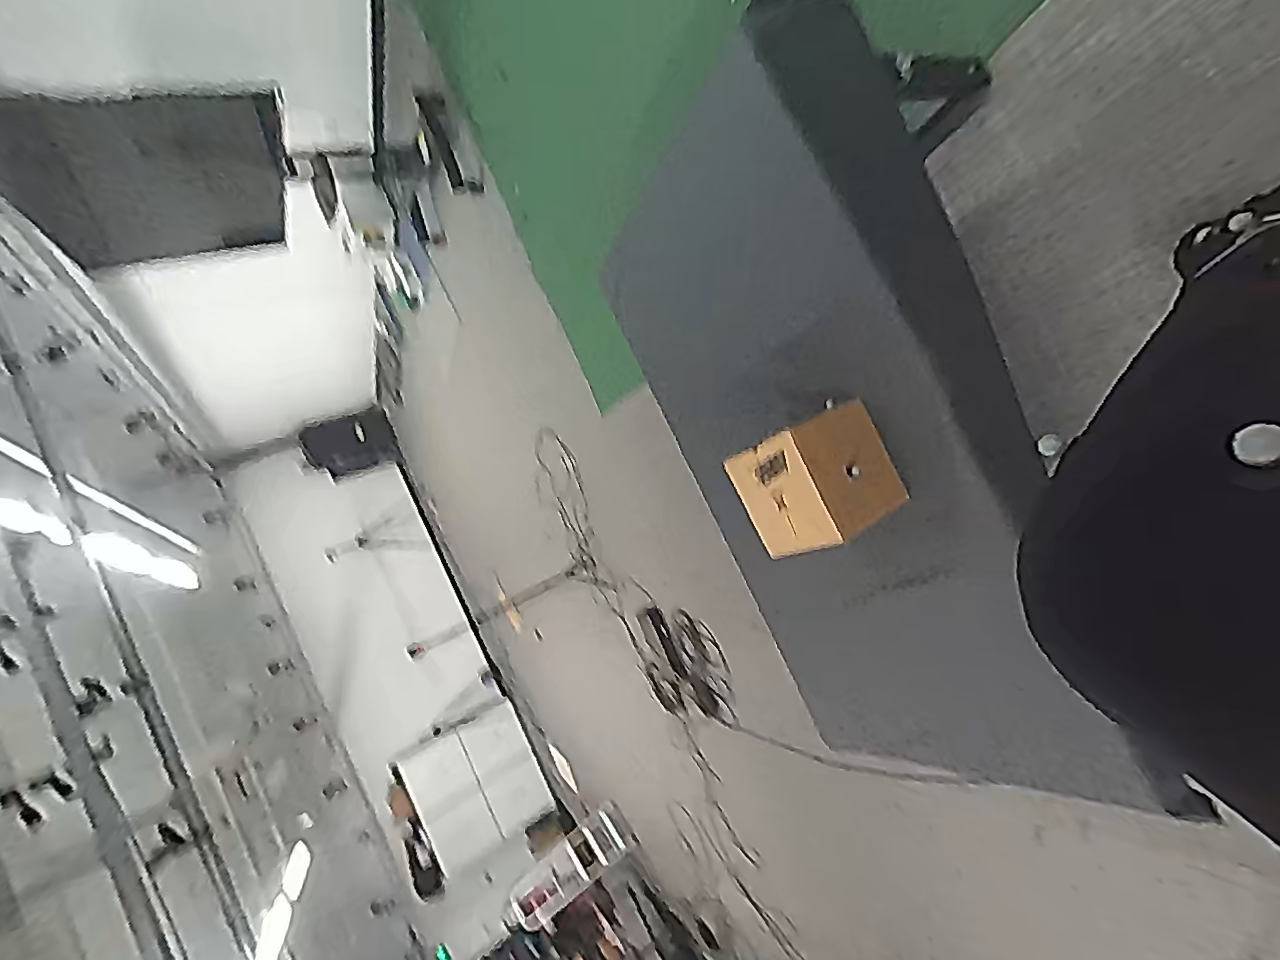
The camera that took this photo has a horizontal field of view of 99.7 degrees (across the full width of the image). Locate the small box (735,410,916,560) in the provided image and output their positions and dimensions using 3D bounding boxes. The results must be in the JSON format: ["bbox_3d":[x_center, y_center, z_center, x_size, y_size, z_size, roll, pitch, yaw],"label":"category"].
[{"bbox_3d":[0.291,0.003,0.858,0.179,0.176,0.168,64,151,8],"label":"small box"}]
